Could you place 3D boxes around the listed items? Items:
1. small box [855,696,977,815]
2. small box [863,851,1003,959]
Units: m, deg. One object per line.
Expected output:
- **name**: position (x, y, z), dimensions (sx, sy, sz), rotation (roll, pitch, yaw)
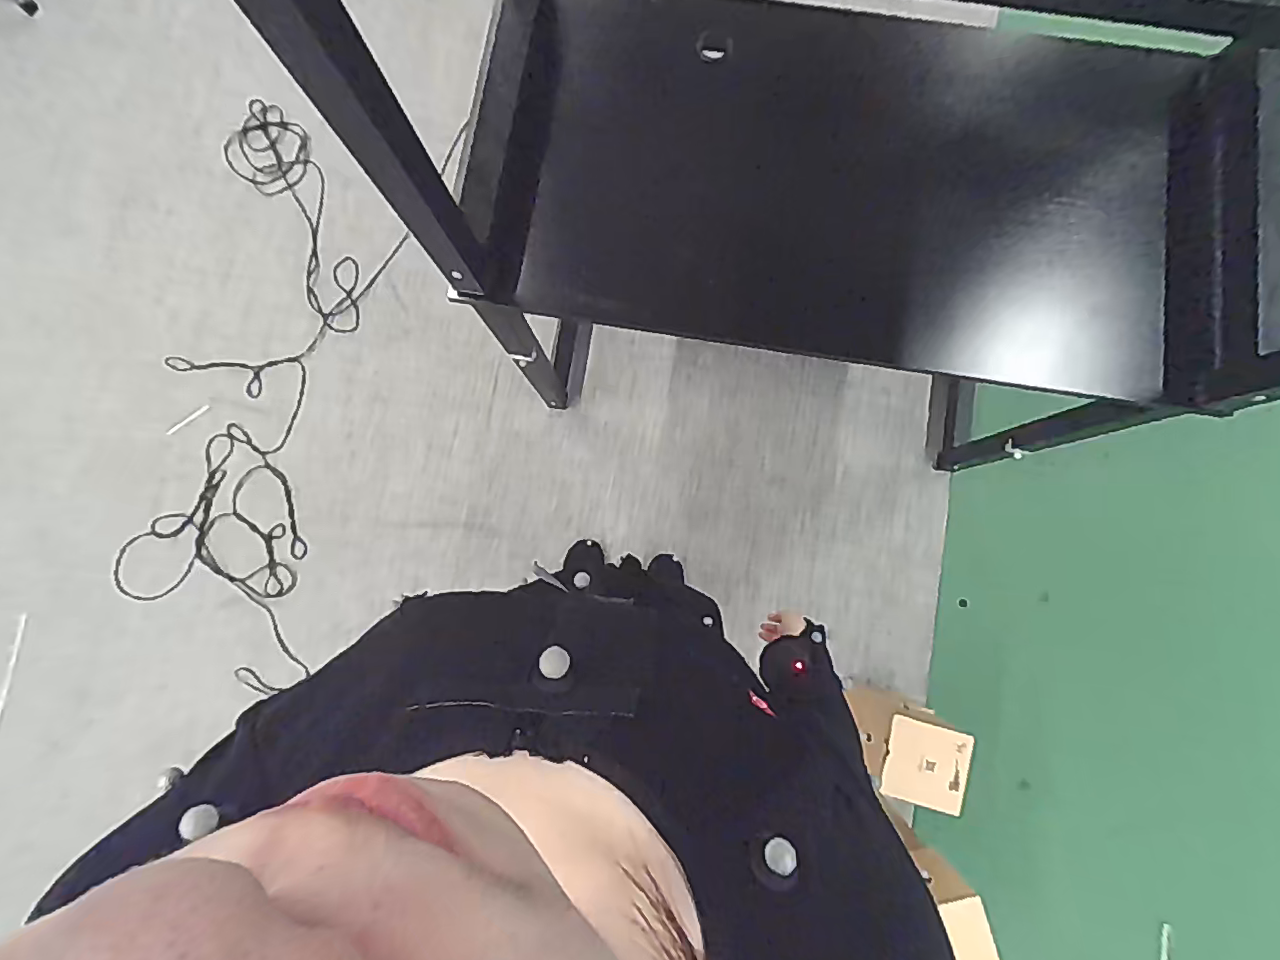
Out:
- **small box**: position (0.603, 0.599, 1.204), dimensions (0.179, 0.176, 0.168), rotation (16, 83, 4)
- **small box**: position (0.545, 0.836, 1.015), dimensions (0.168, 0.176, 0.179), rotation (-15, 84, 1)
